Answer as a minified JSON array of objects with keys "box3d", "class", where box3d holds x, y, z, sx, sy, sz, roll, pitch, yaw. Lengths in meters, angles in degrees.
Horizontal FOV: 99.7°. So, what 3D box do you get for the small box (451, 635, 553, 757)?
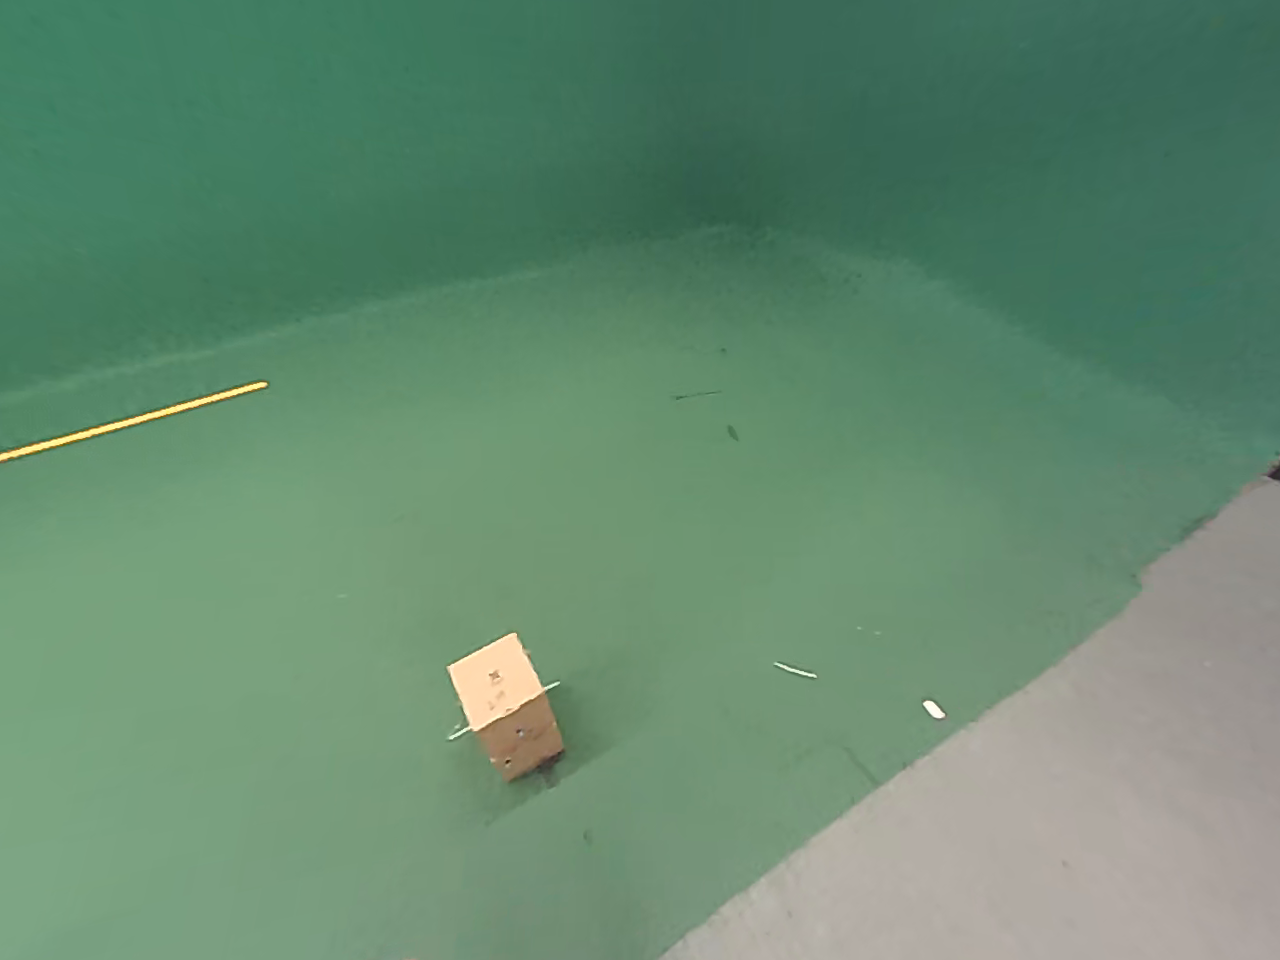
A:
[{"box3d":[-0.319,0.508,1.269,0.168,0.176,0.179,-25,50,-20],"class":"small box"}]
